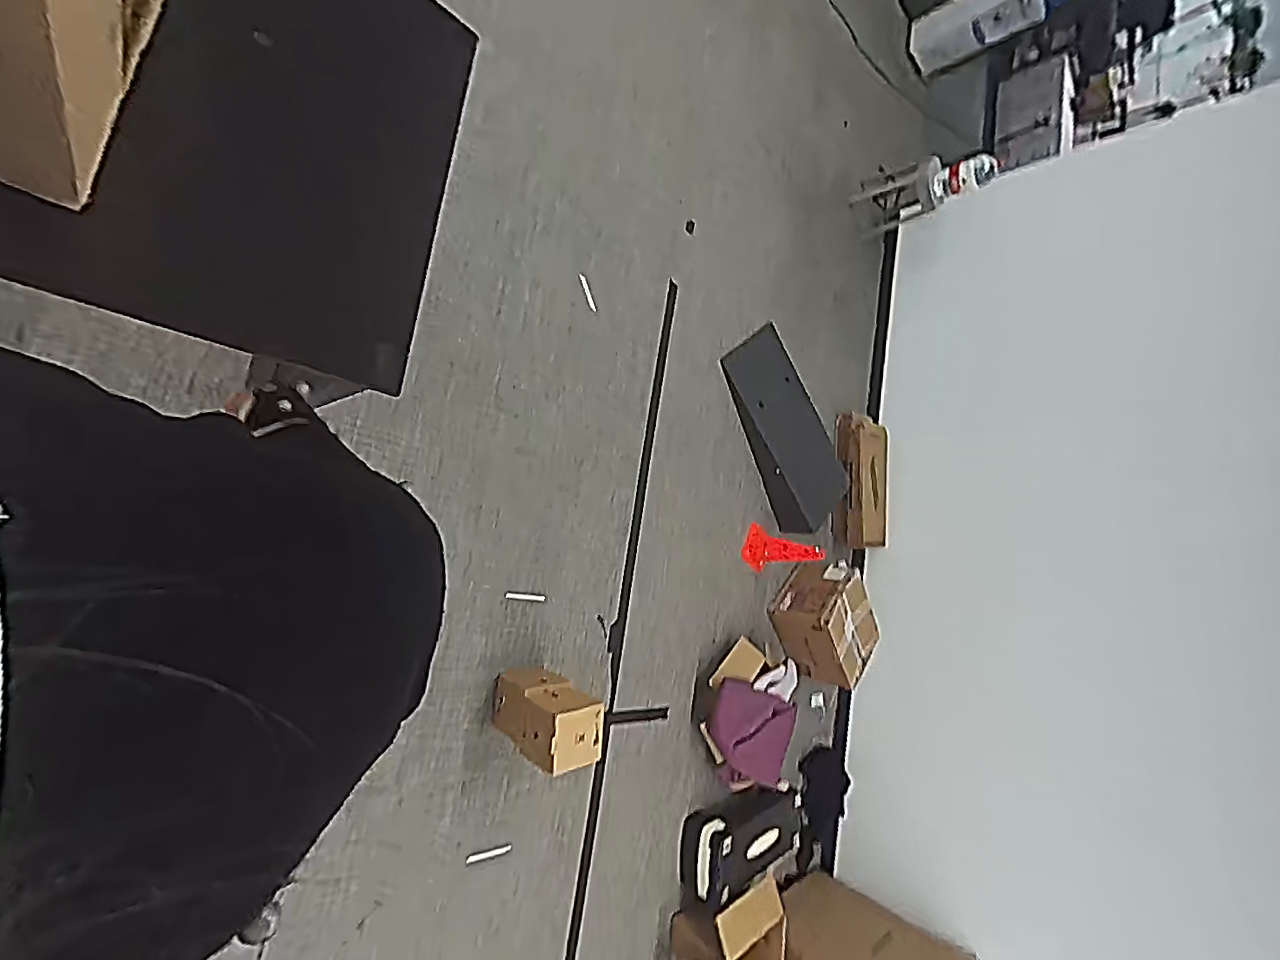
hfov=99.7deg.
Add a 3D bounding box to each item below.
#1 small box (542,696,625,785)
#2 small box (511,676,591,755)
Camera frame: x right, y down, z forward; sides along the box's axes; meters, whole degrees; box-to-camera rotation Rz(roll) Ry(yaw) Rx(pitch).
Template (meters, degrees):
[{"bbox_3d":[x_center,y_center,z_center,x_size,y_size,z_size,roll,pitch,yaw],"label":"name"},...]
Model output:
[{"bbox_3d":[-0.166,0.743,1.562,0.179,0.176,0.168,6,86,-44],"label":"small box"},{"bbox_3d":[-0.278,0.723,1.683,0.179,0.176,0.168,8,85,-43],"label":"small box"}]
